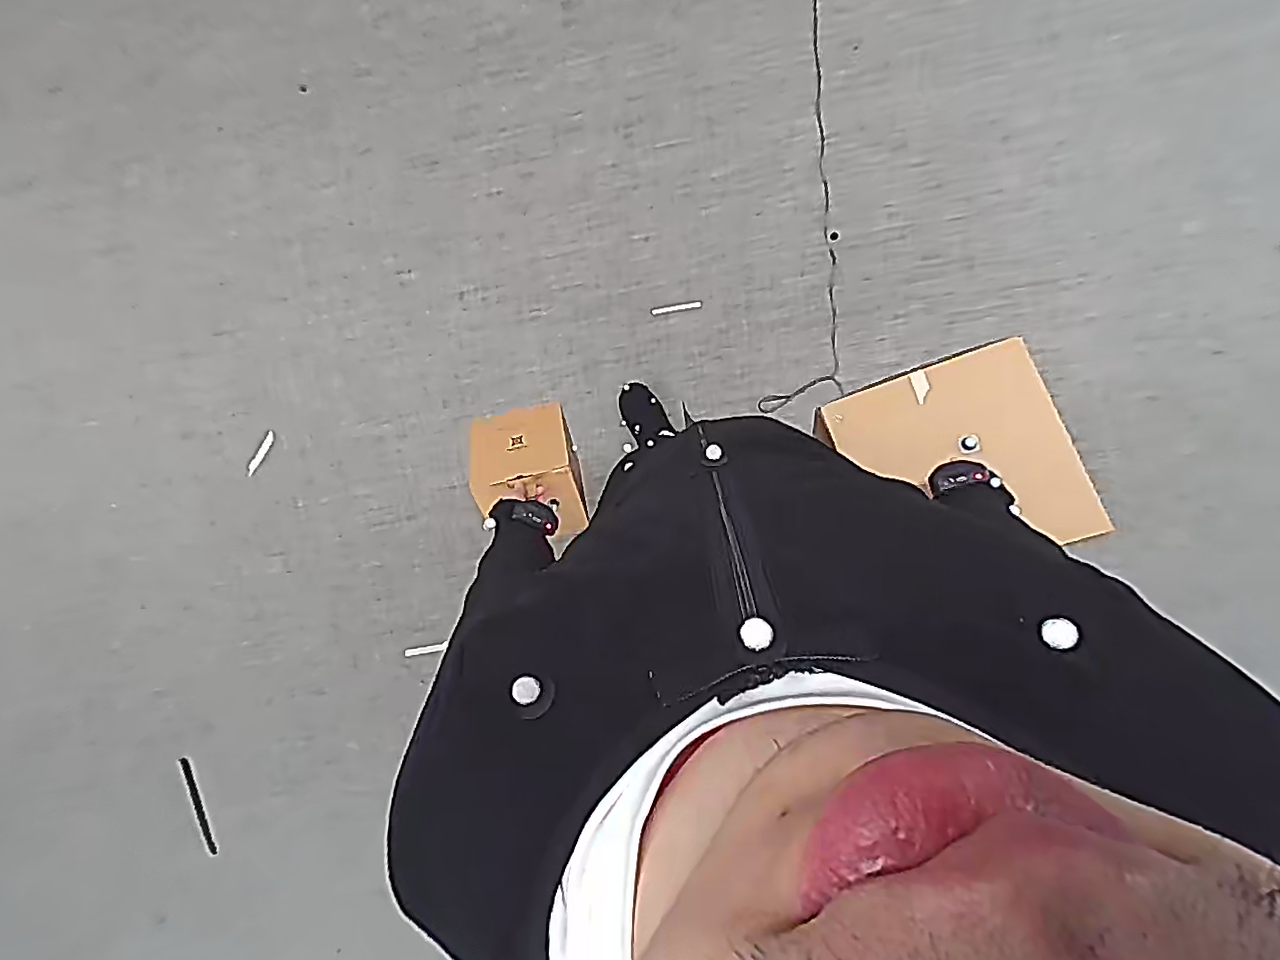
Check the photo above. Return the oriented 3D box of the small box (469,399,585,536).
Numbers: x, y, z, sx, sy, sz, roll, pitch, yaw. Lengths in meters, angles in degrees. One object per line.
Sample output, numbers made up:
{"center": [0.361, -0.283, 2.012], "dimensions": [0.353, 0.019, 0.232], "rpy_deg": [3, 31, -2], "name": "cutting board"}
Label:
{"center": [-0.203, -0.015, 0.988], "dimensions": [0.168, 0.179, 0.176], "rpy_deg": [-13, 138, -3], "name": "small box"}
